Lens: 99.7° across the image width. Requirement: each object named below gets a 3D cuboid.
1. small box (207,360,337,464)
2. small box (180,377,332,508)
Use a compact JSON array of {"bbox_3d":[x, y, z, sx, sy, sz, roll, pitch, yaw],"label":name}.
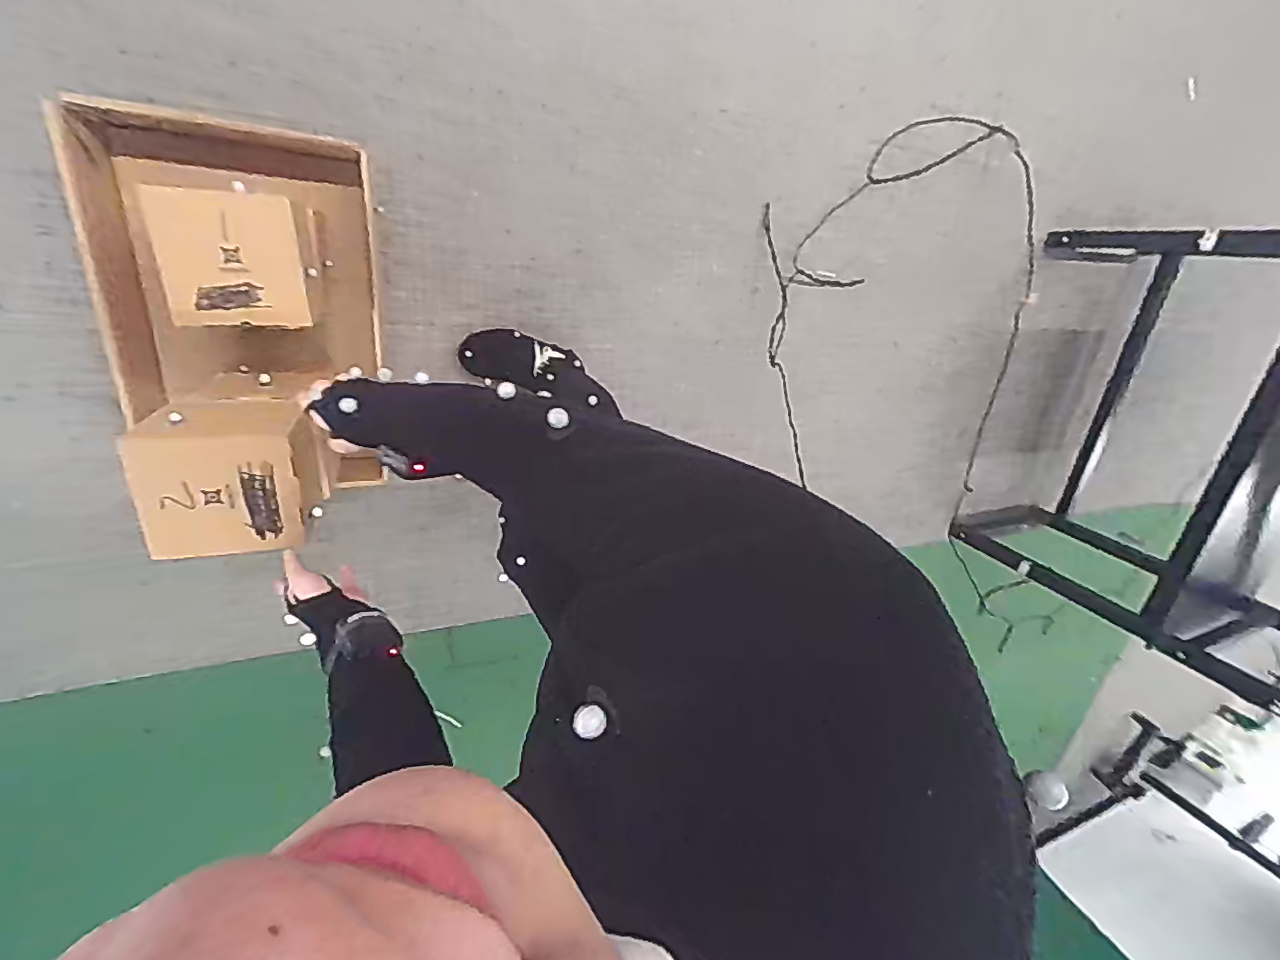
[{"bbox_3d":[-0.684,-0.130,1.030,0.179,0.176,0.168,-3,113,-23],"label":"small box"},{"bbox_3d":[-0.616,-0.071,0.892,0.168,0.176,0.179,-4,113,-23],"label":"small box"}]
